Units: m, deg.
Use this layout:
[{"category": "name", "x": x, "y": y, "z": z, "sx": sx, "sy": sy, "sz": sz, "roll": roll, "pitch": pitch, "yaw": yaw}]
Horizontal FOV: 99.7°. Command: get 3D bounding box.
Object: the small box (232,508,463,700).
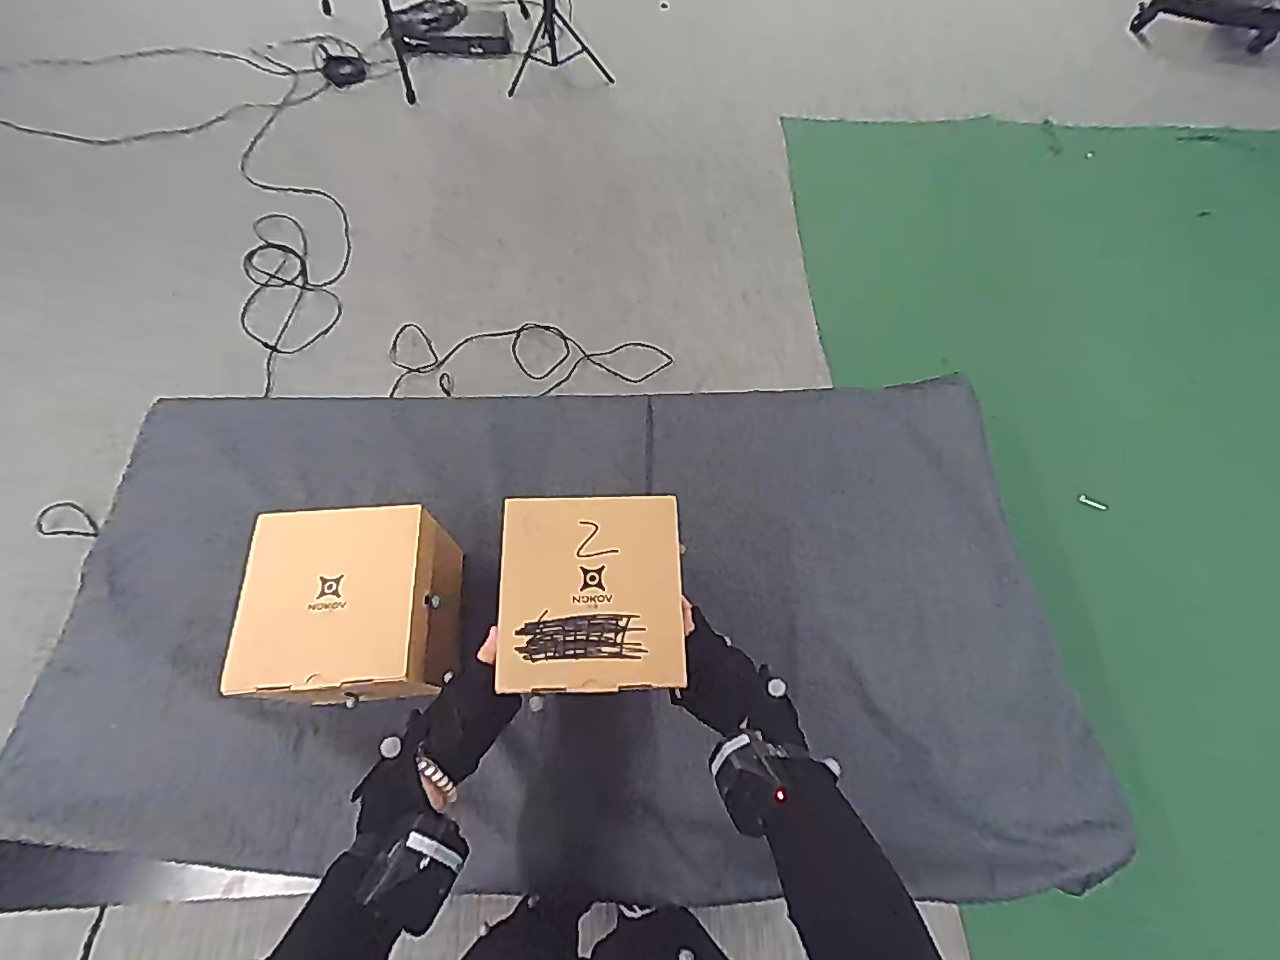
[{"category": "small box", "x": -0.305, "y": 0.145, "z": 0.609, "sx": 0.168, "sy": 0.176, "sz": 0.179, "roll": -3, "pitch": 66, "yaw": -4}]
